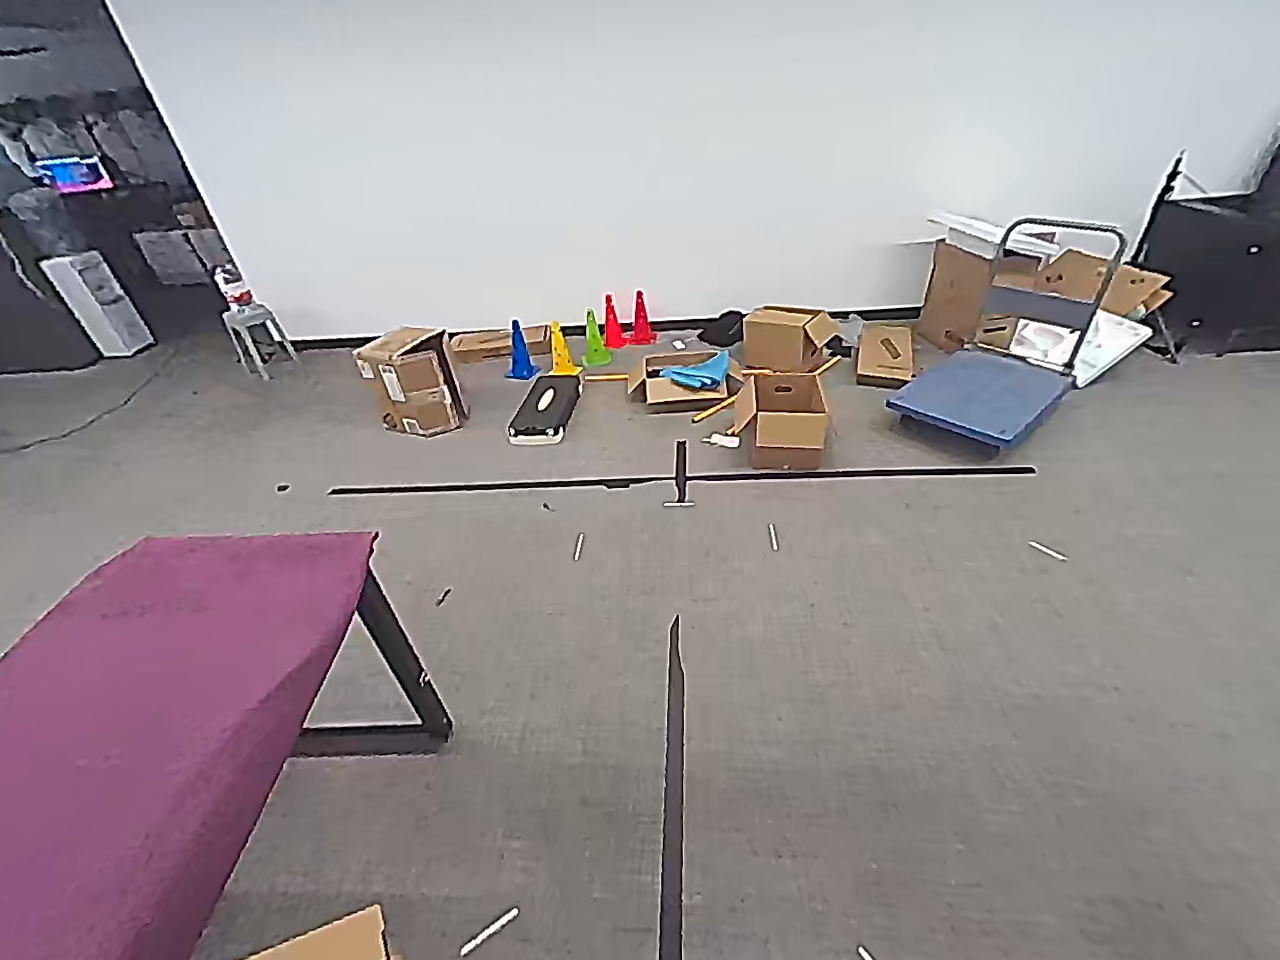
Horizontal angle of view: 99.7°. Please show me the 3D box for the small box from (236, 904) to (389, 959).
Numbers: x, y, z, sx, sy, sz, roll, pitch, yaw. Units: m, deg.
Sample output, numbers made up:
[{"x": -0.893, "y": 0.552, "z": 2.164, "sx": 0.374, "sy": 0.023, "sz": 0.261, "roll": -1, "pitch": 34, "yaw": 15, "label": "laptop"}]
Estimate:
[{"x": -0.356, "y": 0.598, "z": 0.548, "sx": 0.179, "sy": 0.176, "sz": 0.168, "roll": 4, "pitch": 28, "yaw": -39, "label": "small box"}]
